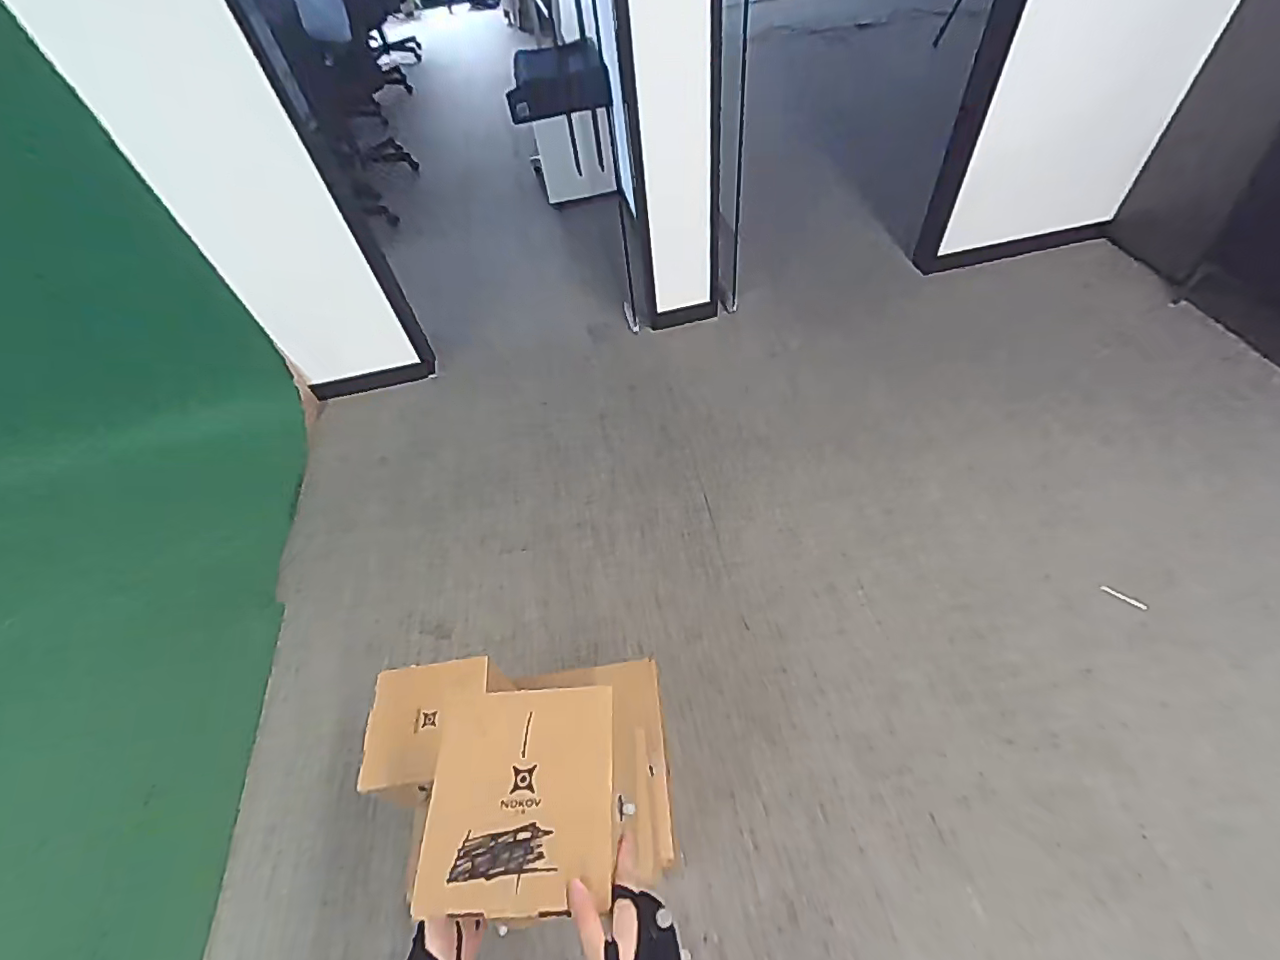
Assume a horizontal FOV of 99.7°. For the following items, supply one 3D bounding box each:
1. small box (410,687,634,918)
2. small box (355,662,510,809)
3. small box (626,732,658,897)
[{"bbox_3d":[-0.098,0.327,0.544,0.168,0.176,0.179,-5,50,5],"label":"small box"},{"bbox_3d":[-0.303,0.402,0.846,0.179,0.176,0.168,-9,51,1],"label":"small box"},{"bbox_3d":[-0.065,0.474,0.759,0.168,0.176,0.179,-6,51,2],"label":"small box"}]
